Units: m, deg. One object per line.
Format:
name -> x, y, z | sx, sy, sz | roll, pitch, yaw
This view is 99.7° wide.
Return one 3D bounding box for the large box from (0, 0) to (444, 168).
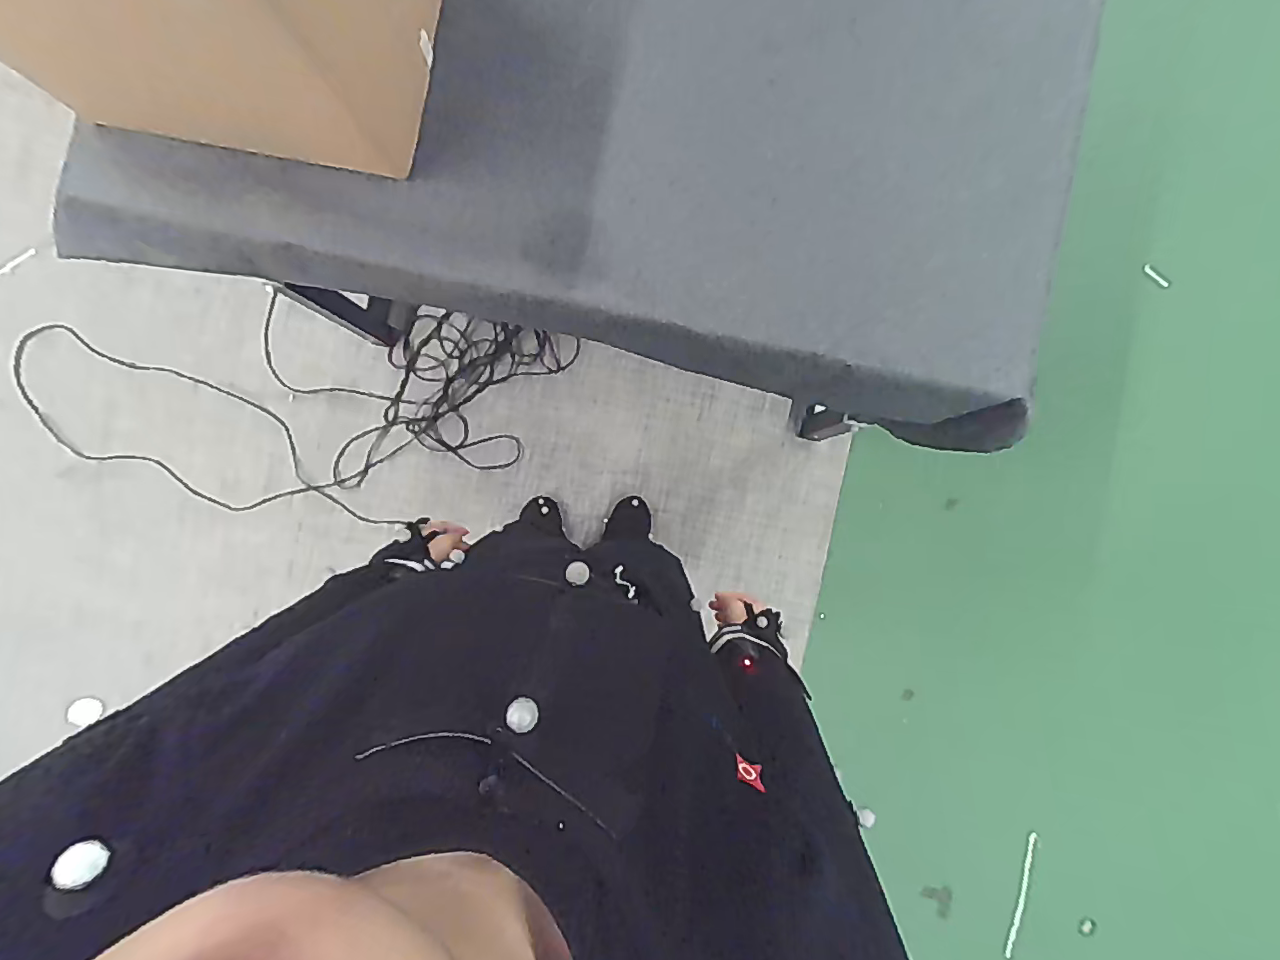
large box -> -0.445, -0.561, 0.516 | 0.408, 0.320, 0.320 | 9, 89, -2
